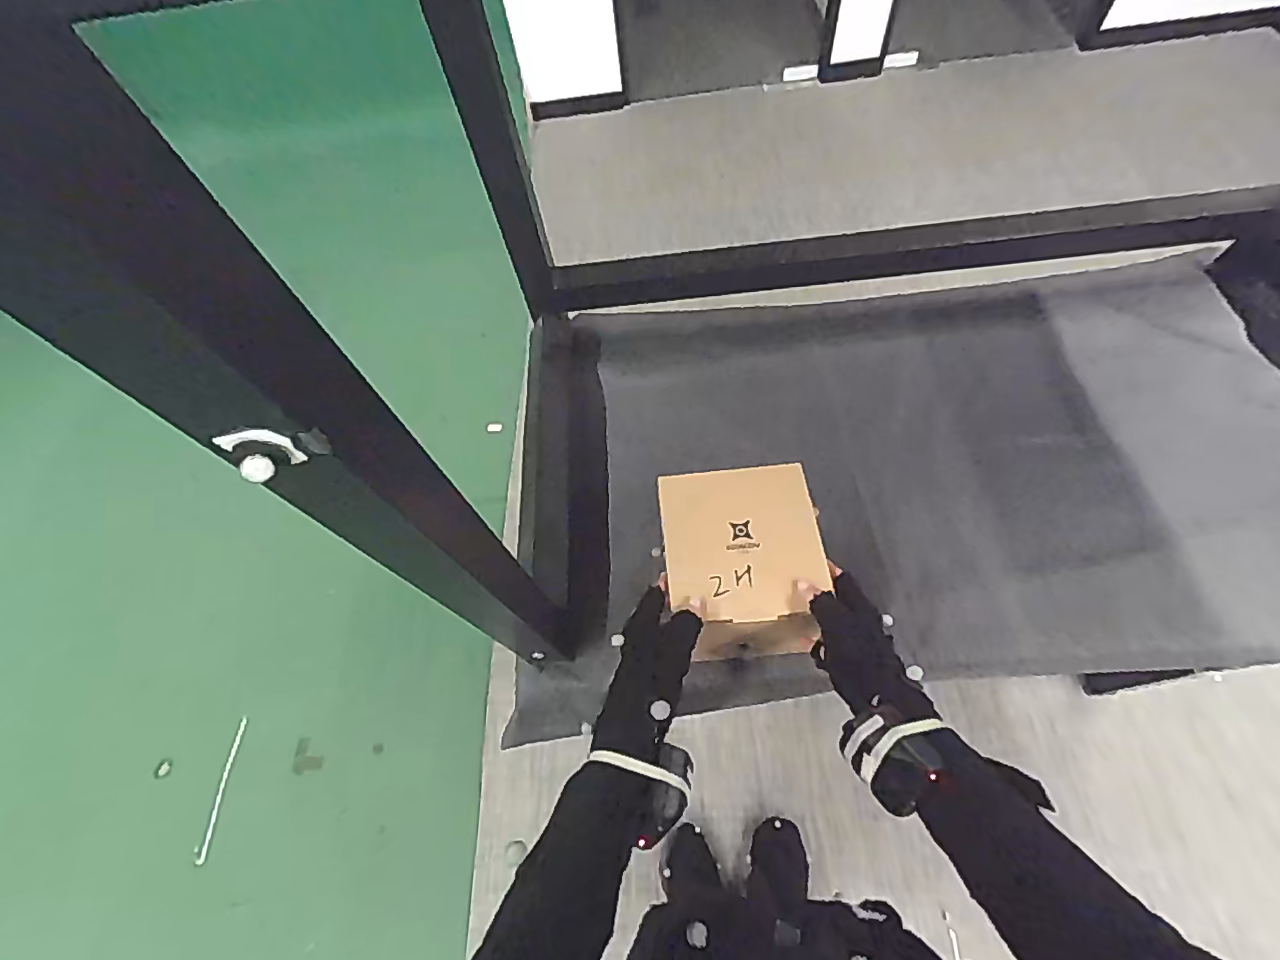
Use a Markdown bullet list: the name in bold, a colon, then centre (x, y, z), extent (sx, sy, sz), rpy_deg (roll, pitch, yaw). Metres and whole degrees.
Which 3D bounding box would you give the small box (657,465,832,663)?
- **small box**: centre (0.109, 0.104, 0.641), extent (0.168, 0.176, 0.179), rpy_deg (-6, 58, 3)
